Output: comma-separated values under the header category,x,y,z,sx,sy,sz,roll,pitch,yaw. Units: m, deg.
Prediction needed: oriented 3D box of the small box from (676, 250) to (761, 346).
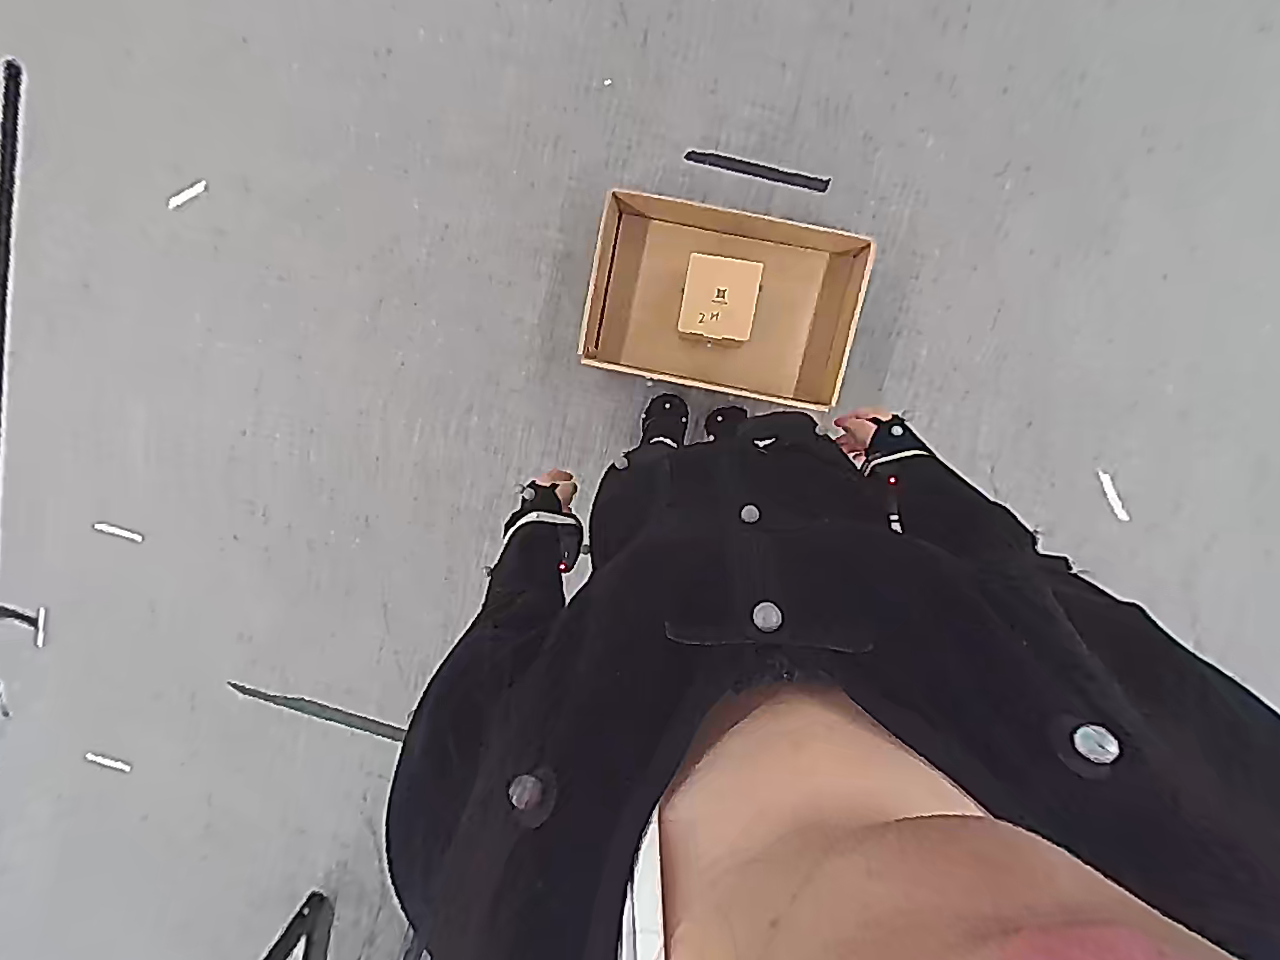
category,x,y,z,sx,sy,sz,roll,pitch,yaw
small box,0.180,-0.427,1.292,0.168,0.176,0.179,10,100,3
